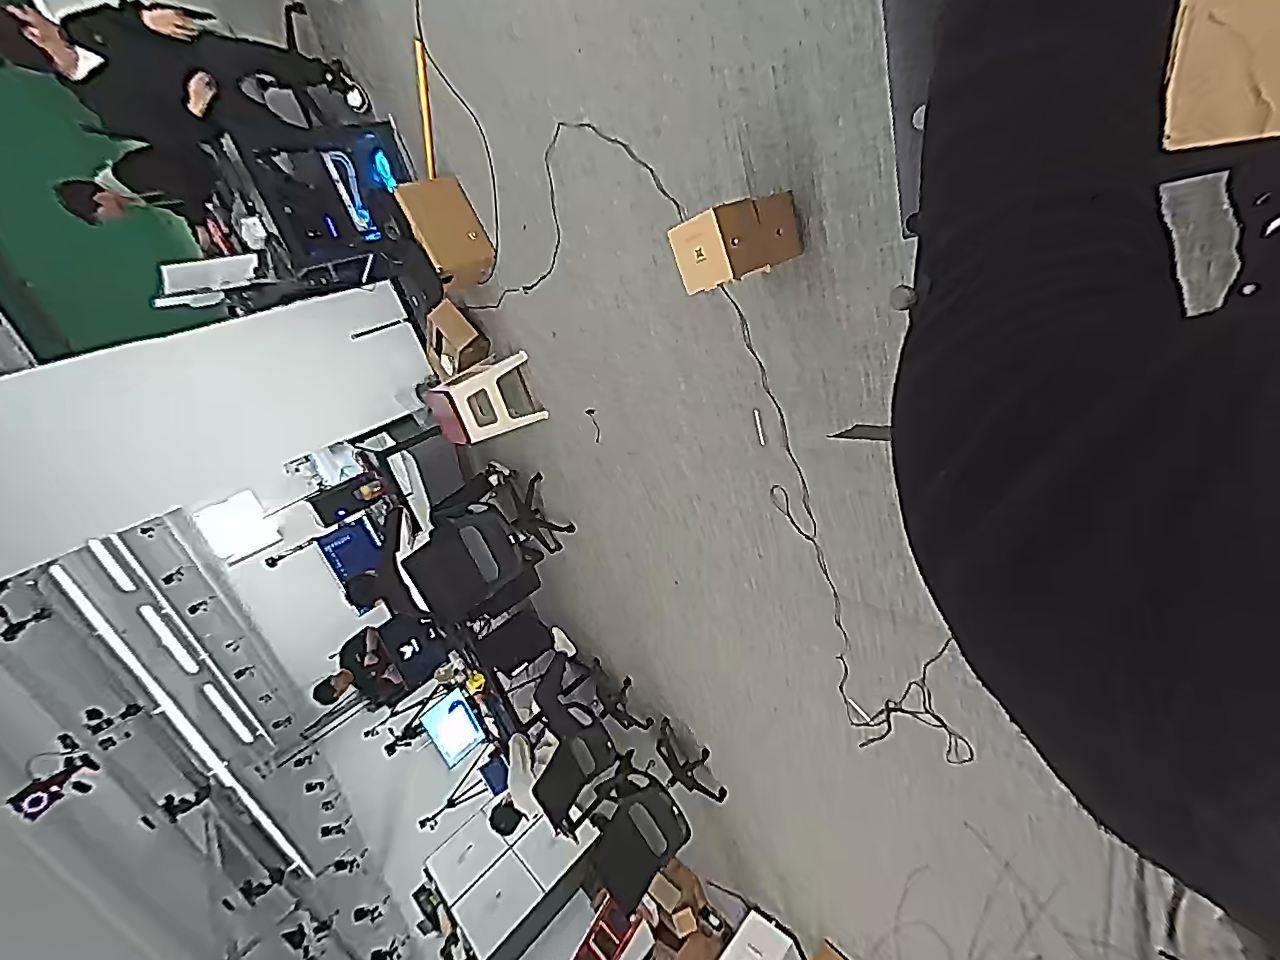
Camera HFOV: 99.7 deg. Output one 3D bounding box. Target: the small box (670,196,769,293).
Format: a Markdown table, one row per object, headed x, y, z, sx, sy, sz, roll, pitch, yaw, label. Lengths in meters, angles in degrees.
| x | y | z | sx | sy | sz | roll | pitch | yaw | label |
| --- | --- | --- | --- | --- | --- | --- | --- | --- | --- |
| 0.214 | -0.617 | 1.421 | 0.168 | 0.176 | 0.179 | 0 | 116 | 51 | small box |

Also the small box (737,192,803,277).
| x | y | z | sx | sy | sz | roll | pitch | yaw | label |
| --- | --- | --- | --- | --- | --- | --- | --- | --- | --- |
| 0.330 | -0.685 | 1.511 | 0.168 | 0.176 | 0.179 | 5 | 121 | 50 | small box |
